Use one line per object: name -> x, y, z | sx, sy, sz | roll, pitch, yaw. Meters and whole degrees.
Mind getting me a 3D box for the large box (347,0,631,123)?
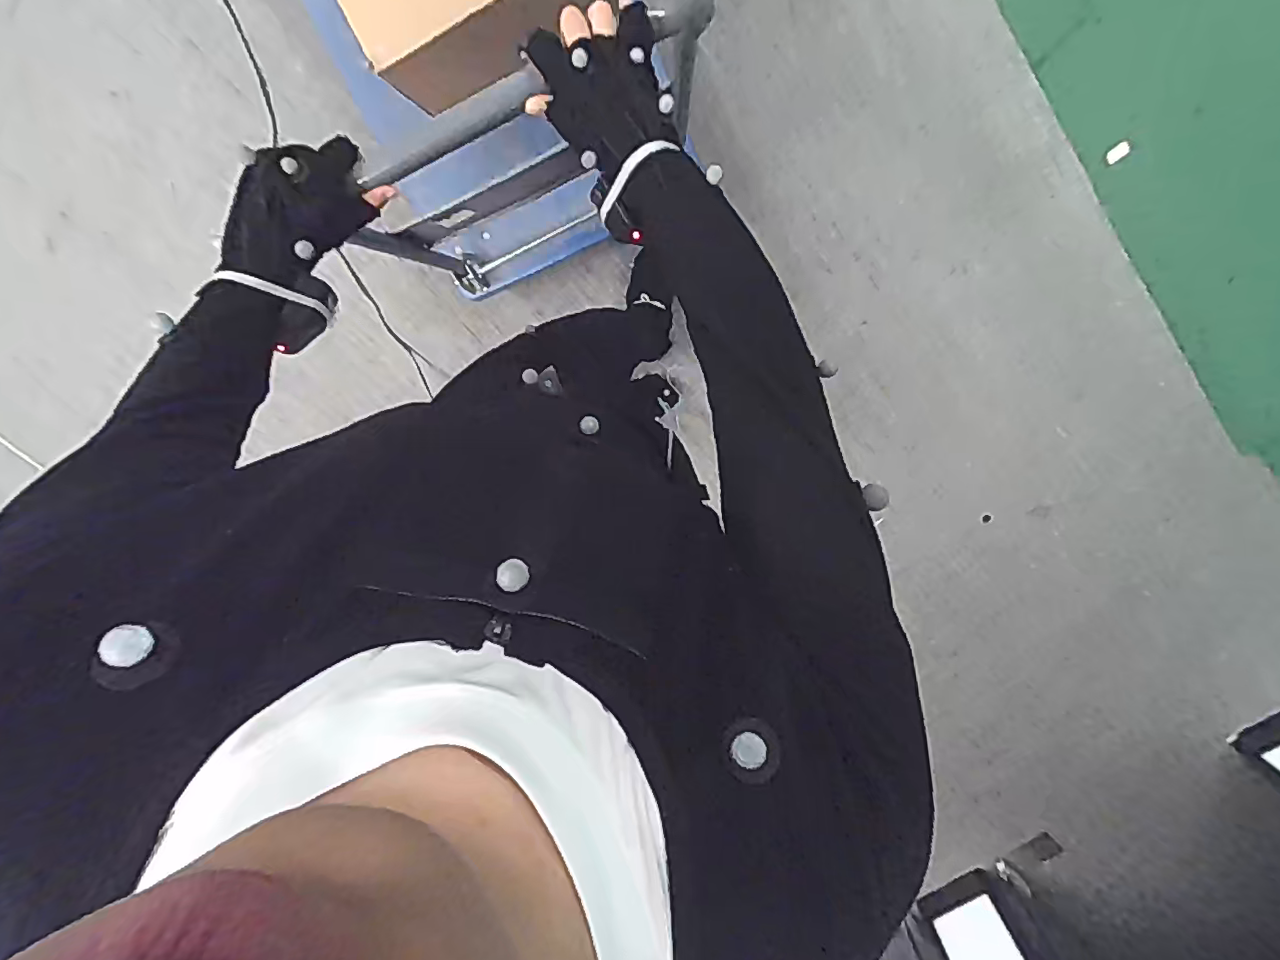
large box -> -0.261, -0.868, 0.873 | 0.408, 0.320, 0.320 | -23, 107, 10
